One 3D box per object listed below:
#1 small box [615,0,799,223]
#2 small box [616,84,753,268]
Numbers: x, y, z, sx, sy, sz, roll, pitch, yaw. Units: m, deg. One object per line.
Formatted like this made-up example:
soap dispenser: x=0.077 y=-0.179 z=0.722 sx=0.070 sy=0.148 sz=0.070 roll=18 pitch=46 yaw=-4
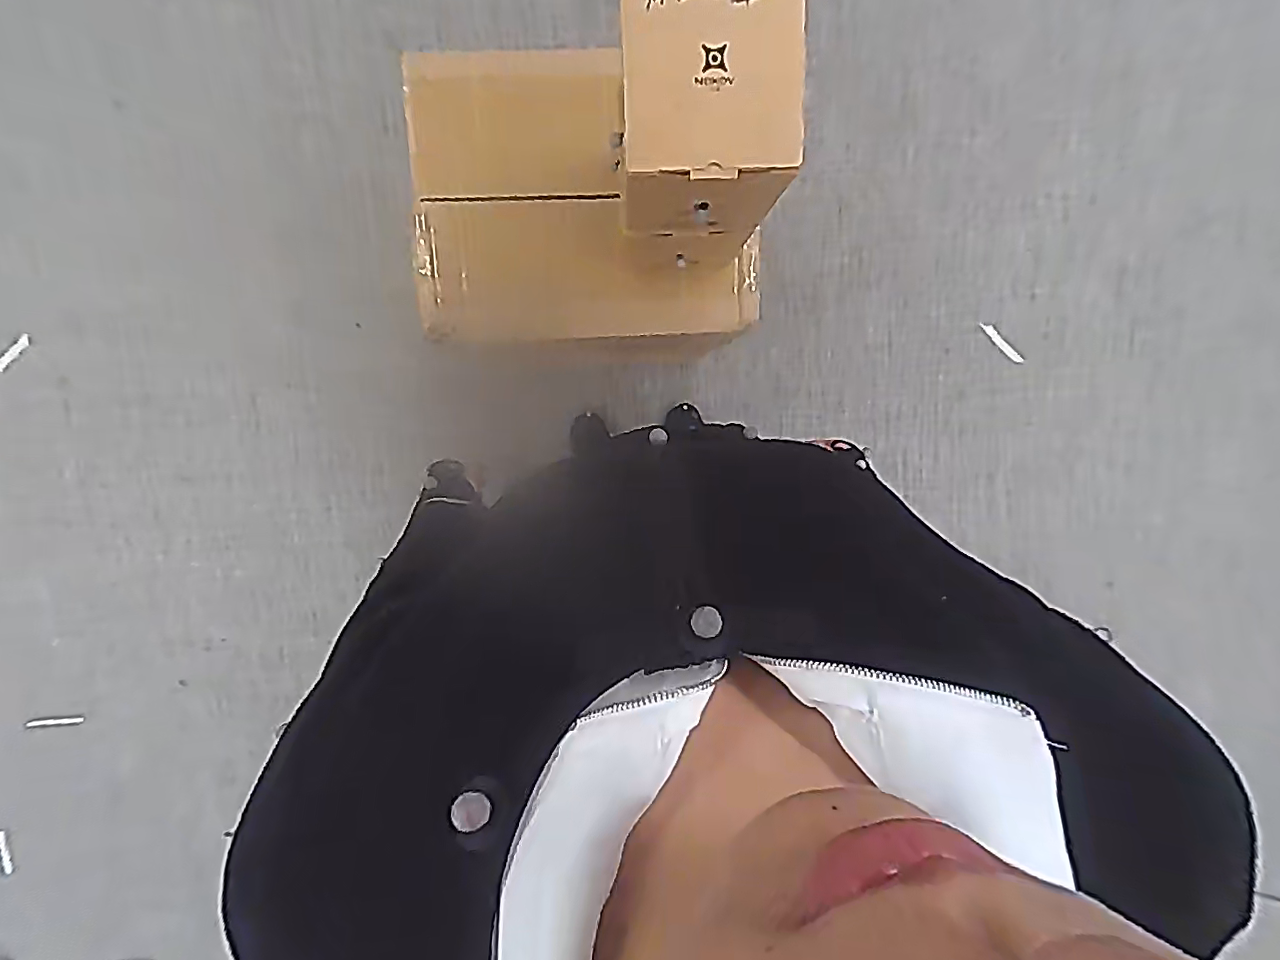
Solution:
small box: x=0.061 y=-0.382 z=0.570 sx=0.168 sy=0.176 sz=0.179 roll=-2 pitch=99 yaw=-1
small box: x=0.052 y=-0.401 z=0.733 sx=0.168 sy=0.176 sz=0.179 roll=-3 pitch=98 yaw=-1
